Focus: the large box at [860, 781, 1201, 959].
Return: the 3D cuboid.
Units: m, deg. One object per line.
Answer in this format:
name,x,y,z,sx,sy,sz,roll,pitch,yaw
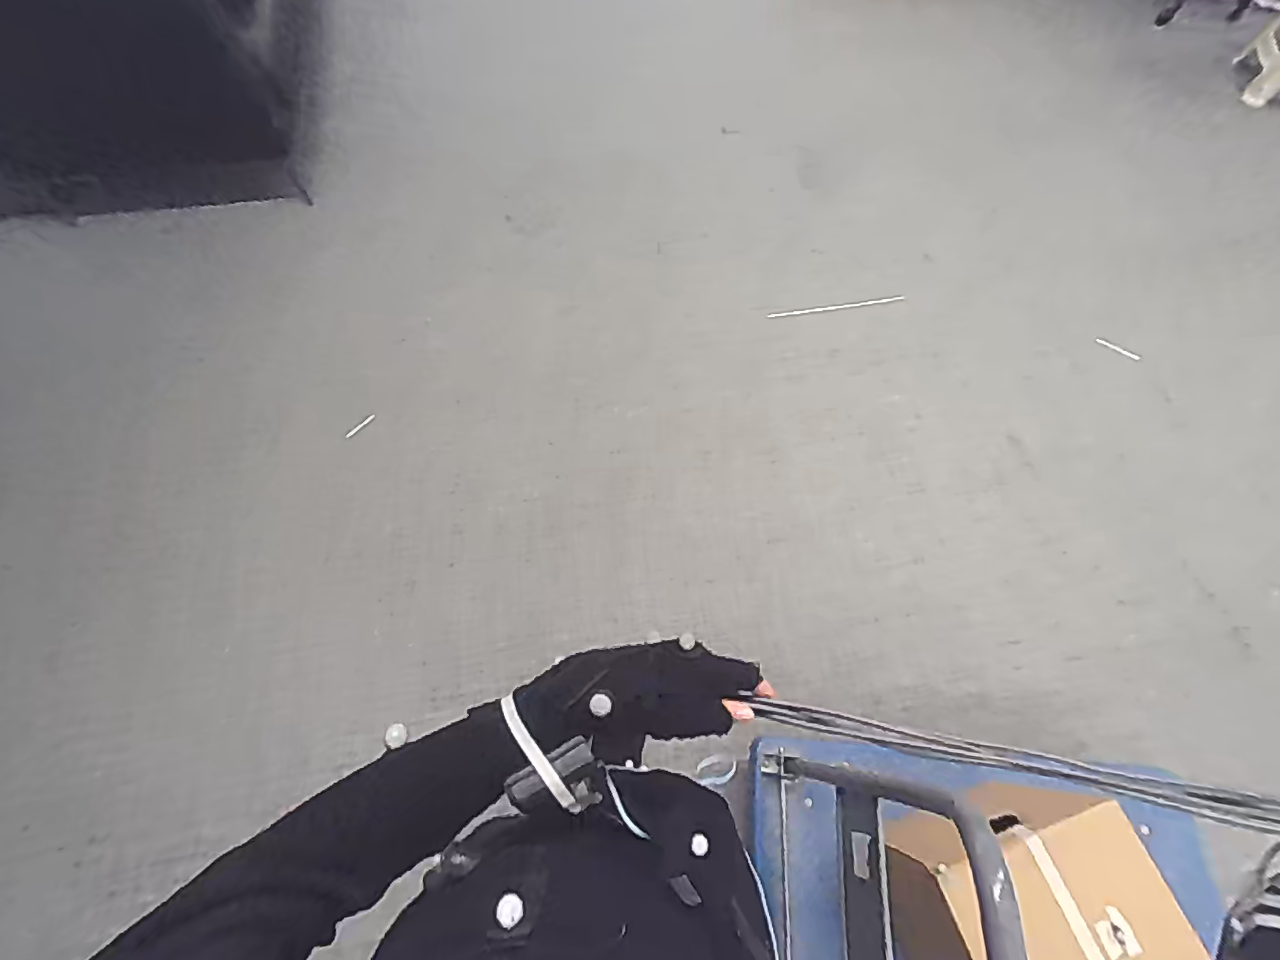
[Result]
large box,0.629,0.759,0.868,0.320,0.320,0.408,-15,65,-8
